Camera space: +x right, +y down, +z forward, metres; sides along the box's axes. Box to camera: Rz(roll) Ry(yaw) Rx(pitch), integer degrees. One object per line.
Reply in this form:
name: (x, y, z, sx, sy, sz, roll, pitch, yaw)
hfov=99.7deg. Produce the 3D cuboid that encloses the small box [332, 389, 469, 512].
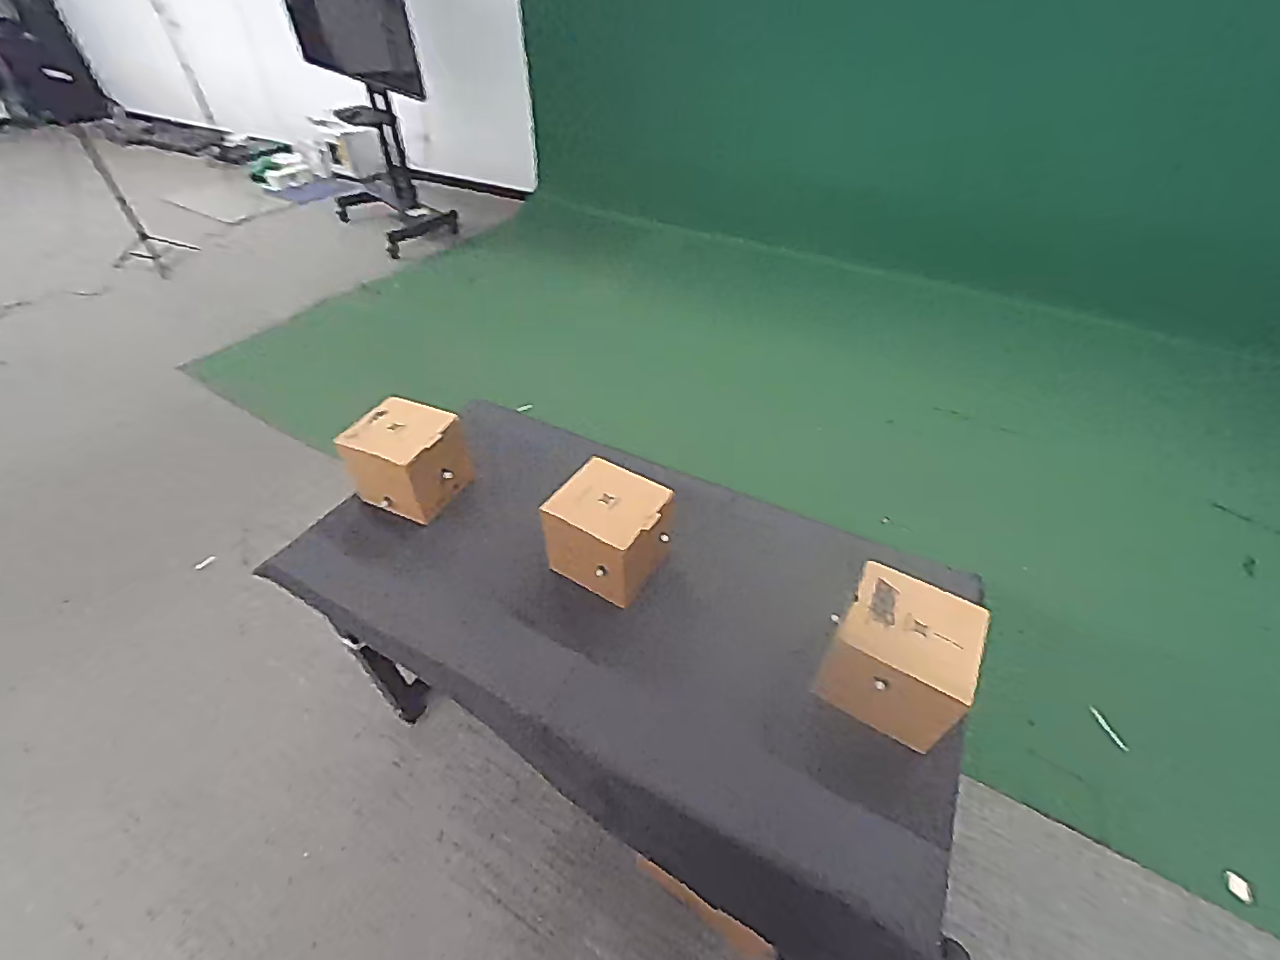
small box: (-0.482, -0.058, 1.119, 0.179, 0.176, 0.168, 18, 47, 15)

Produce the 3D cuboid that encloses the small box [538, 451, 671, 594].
small box: (-0.060, 0.081, 0.989, 0.179, 0.176, 0.168, 23, 47, 22)

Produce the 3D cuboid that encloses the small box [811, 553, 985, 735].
small box: (0.380, 0.250, 0.818, 0.179, 0.176, 0.168, 25, 50, 22)
